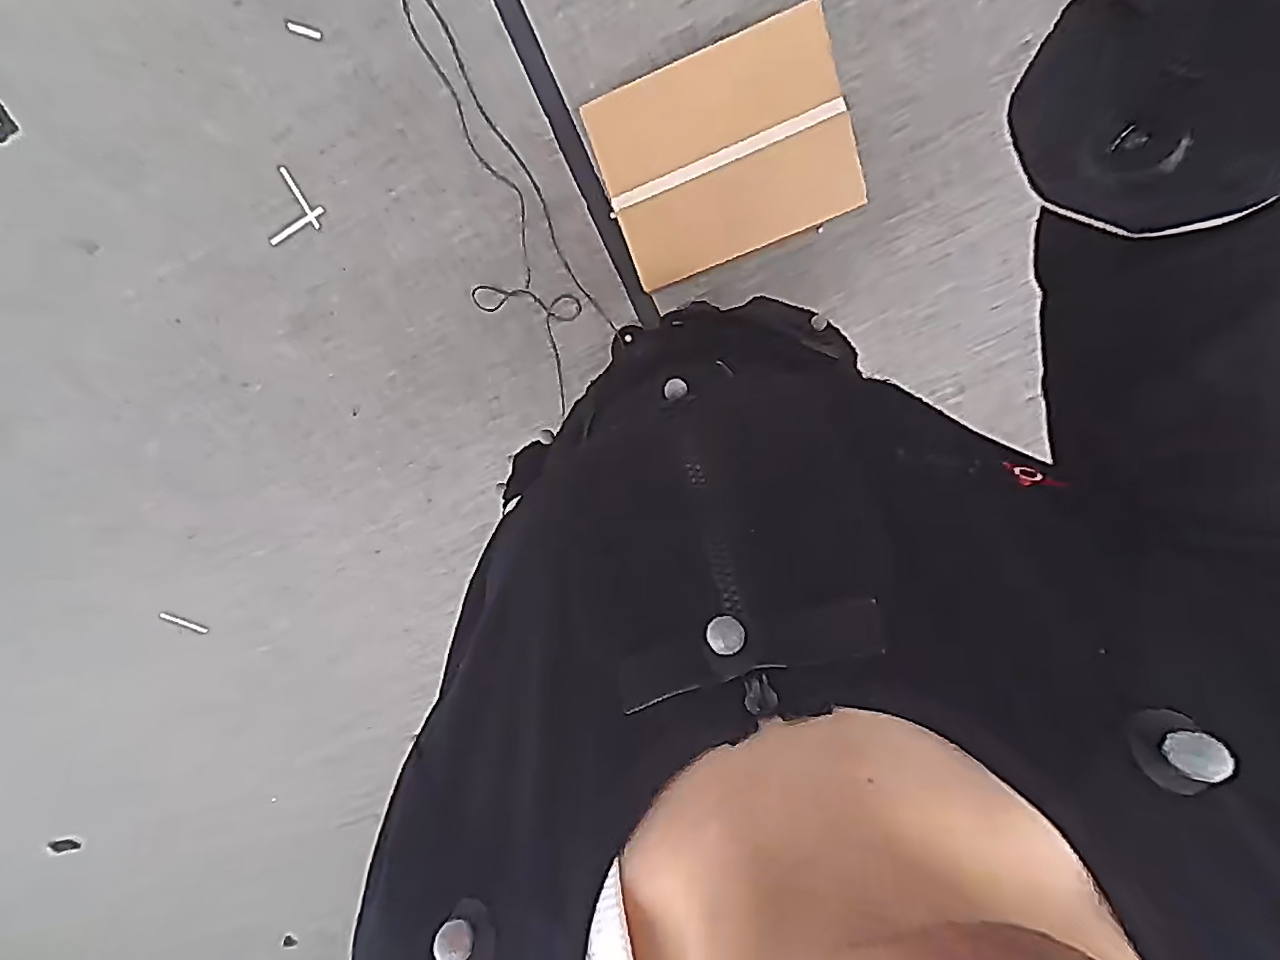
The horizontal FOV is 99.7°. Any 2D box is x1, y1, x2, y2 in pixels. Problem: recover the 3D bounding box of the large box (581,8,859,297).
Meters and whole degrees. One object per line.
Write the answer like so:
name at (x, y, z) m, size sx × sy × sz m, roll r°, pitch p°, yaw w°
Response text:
large box at (0.145, -0.582, 1.050) m, size 0.408 × 0.320 × 0.320 m, roll -20°, pitch 105°, yaw 8°
